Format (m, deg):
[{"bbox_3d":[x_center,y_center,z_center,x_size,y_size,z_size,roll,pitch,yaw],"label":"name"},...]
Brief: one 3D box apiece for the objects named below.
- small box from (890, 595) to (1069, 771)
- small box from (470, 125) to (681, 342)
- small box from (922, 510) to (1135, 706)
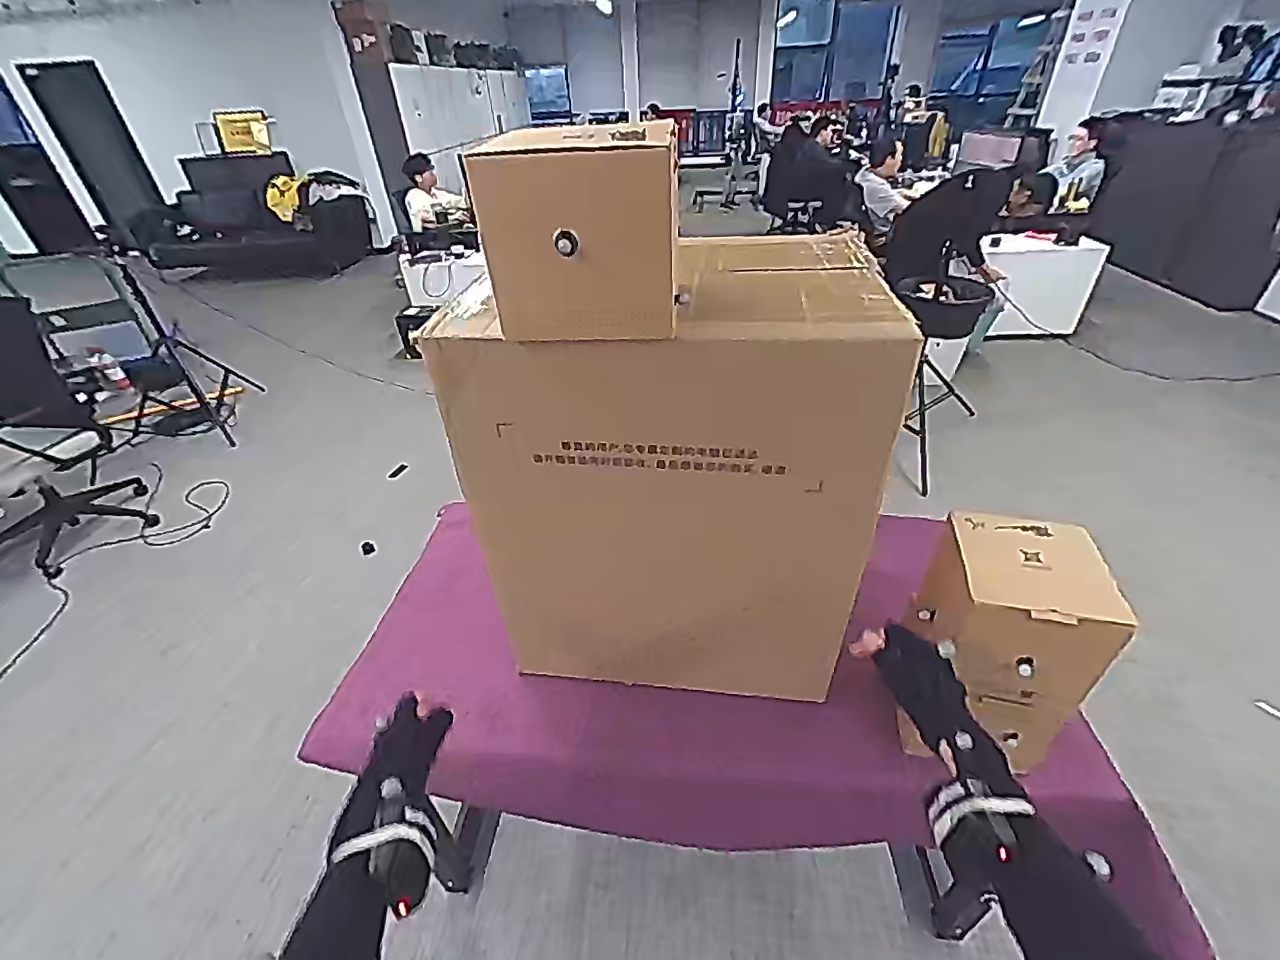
[{"bbox_3d":[0.490,0.303,0.813,0.168,0.176,0.179,6,35,12],"label":"small box"},{"bbox_3d":[-0.047,-0.252,0.557,0.179,0.176,0.168,0,38,6],"label":"small box"},{"bbox_3d":[0.491,0.168,0.719,0.168,0.176,0.179,9,38,15],"label":"small box"}]
